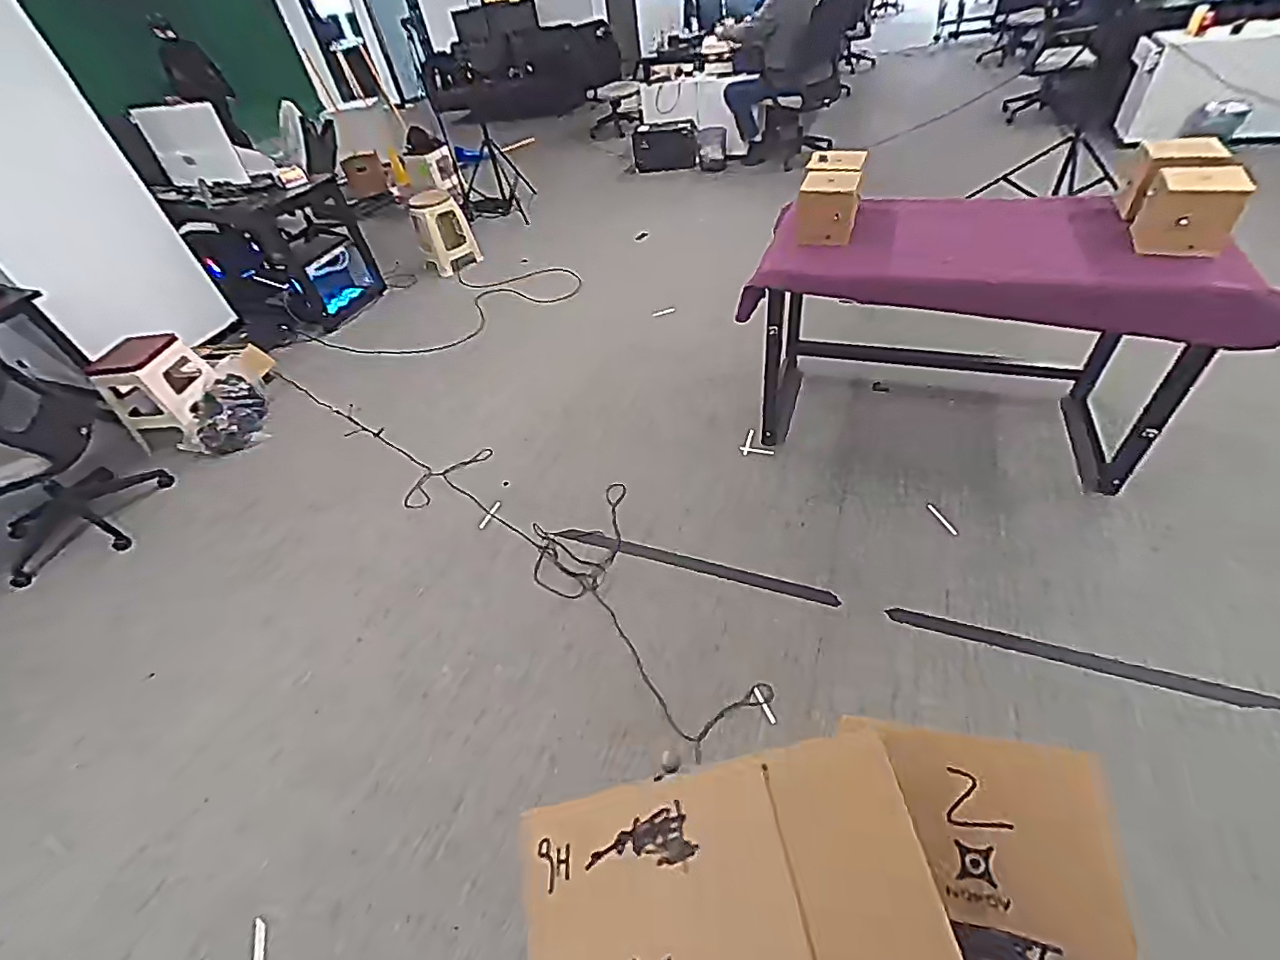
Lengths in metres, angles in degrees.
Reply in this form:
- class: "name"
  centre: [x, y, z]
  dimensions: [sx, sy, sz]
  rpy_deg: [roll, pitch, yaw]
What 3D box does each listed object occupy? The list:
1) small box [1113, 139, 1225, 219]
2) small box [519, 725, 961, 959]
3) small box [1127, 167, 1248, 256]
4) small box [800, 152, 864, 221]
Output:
- class: "small box"
  centre: [1.520, -0.871, 1.572]
  dimensions: [0.179, 0.176, 0.168]
  rpy_deg: [12, 50, 20]
- class: "small box"
  centre: [0.061, 0.250, 0.294]
  dimensions: [0.168, 0.176, 0.179]
  rpy_deg: [-30, 59, 28]
- class: "small box"
  centre: [1.441, -0.711, 1.437]
  dimensions: [0.168, 0.176, 0.179]
  rpy_deg: [14, 49, 24]
- class: "small box"
  centre: [0.659, -1.014, 1.870]
  dimensions: [0.179, 0.176, 0.168]
  rpy_deg: [13, 51, 20]
